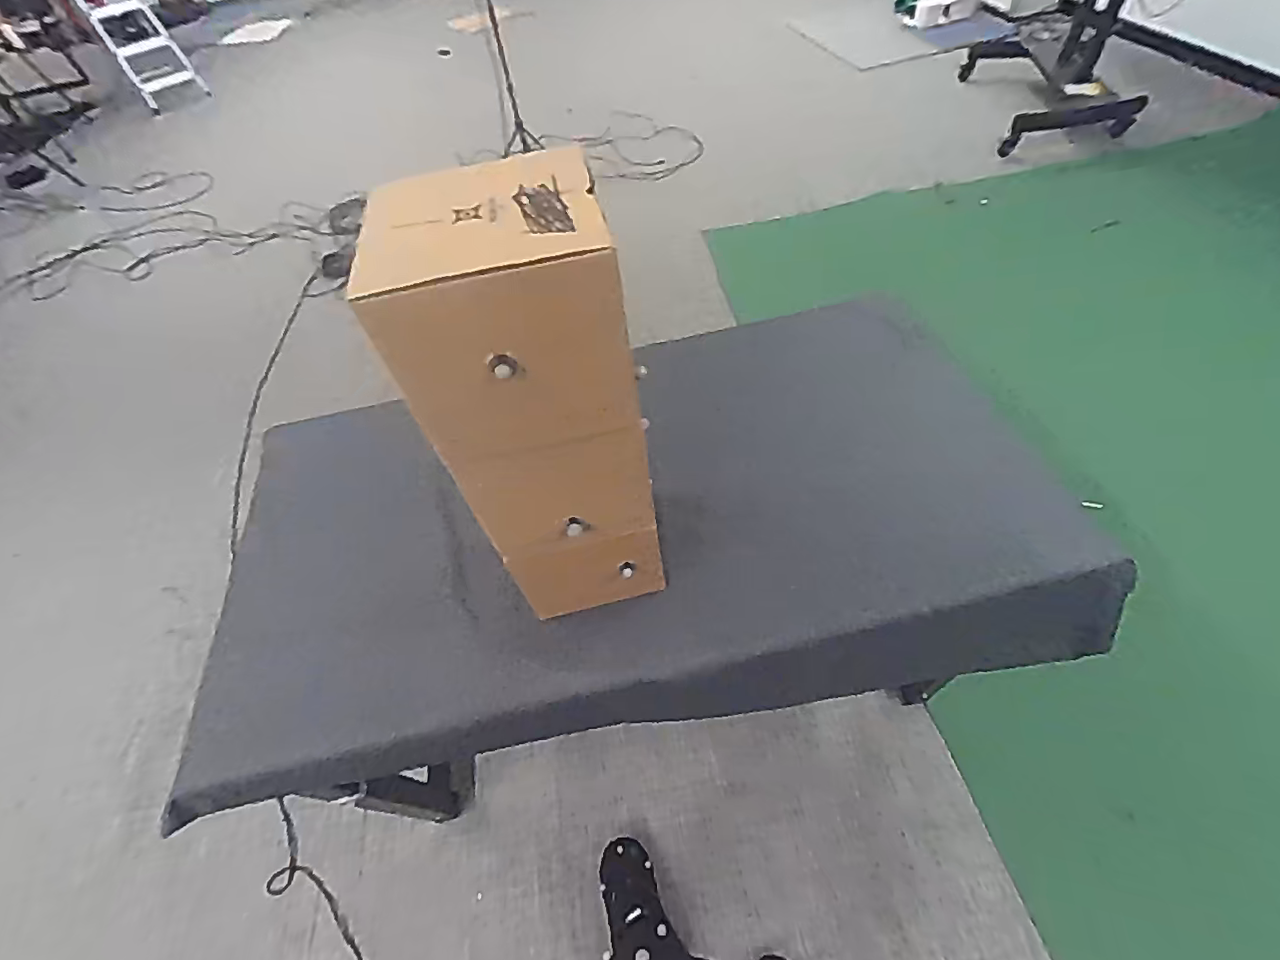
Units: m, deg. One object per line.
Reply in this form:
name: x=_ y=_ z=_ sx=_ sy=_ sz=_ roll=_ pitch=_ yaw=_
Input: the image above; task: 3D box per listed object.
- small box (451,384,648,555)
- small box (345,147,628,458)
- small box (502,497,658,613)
small box: x=-0.093 y=-0.042 z=0.589 sx=0.179 sy=0.176 sz=0.168 roll=-15 pitch=54 yaw=-4
small box: x=-0.110 y=-0.143 z=0.456 sx=0.179 sy=0.176 sz=0.168 roll=-13 pitch=52 yaw=-2
small box: x=-0.077 y=0.054 z=0.717 sx=0.179 sy=0.176 sz=0.168 roll=-14 pitch=52 yaw=-2
